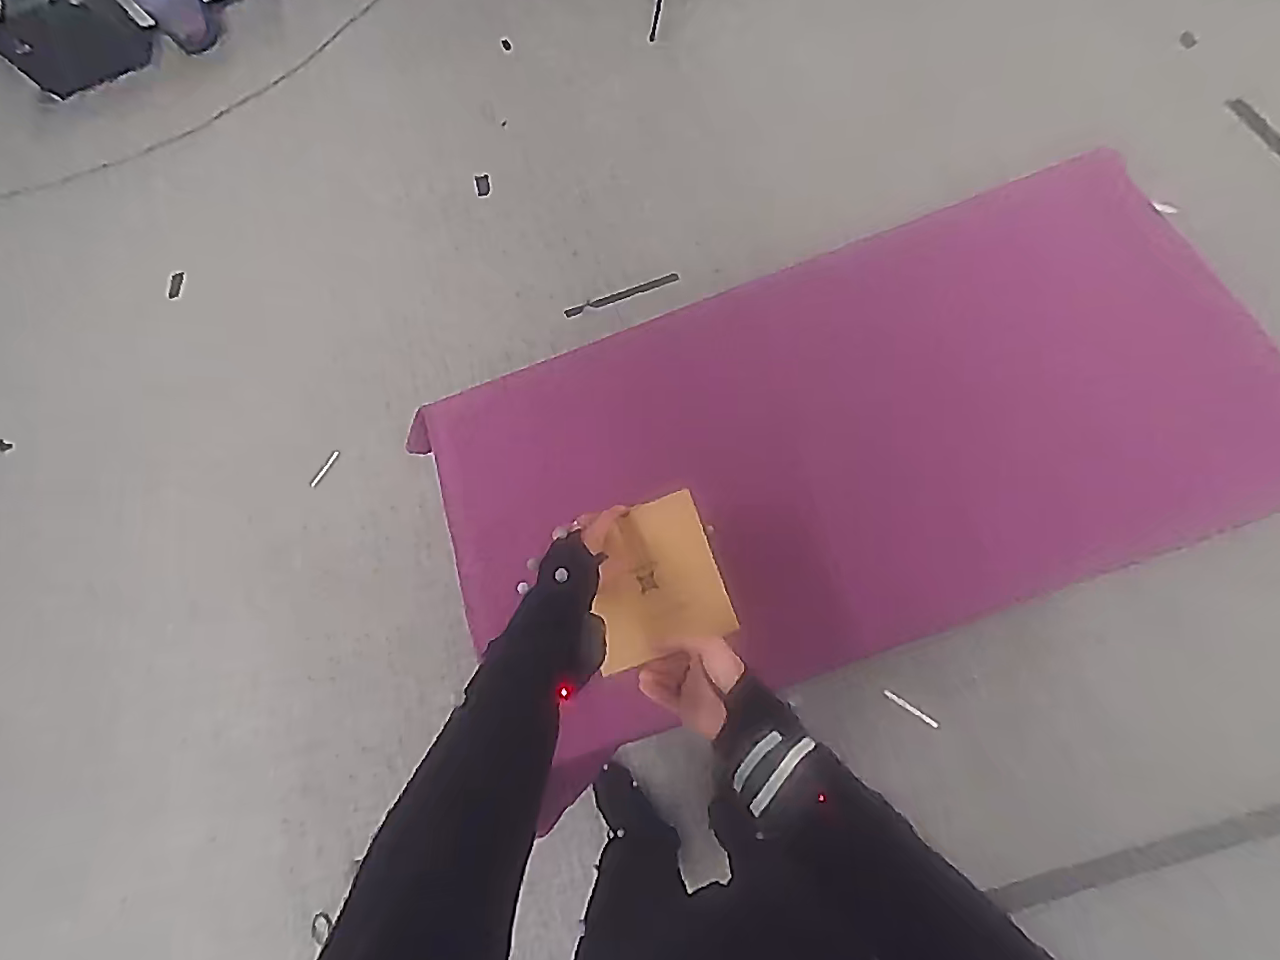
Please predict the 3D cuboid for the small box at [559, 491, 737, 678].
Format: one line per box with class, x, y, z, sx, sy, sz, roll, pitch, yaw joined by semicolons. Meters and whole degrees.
small box;0.015;0.139;0.693;0.168;0.176;0.179;-21;72;4
